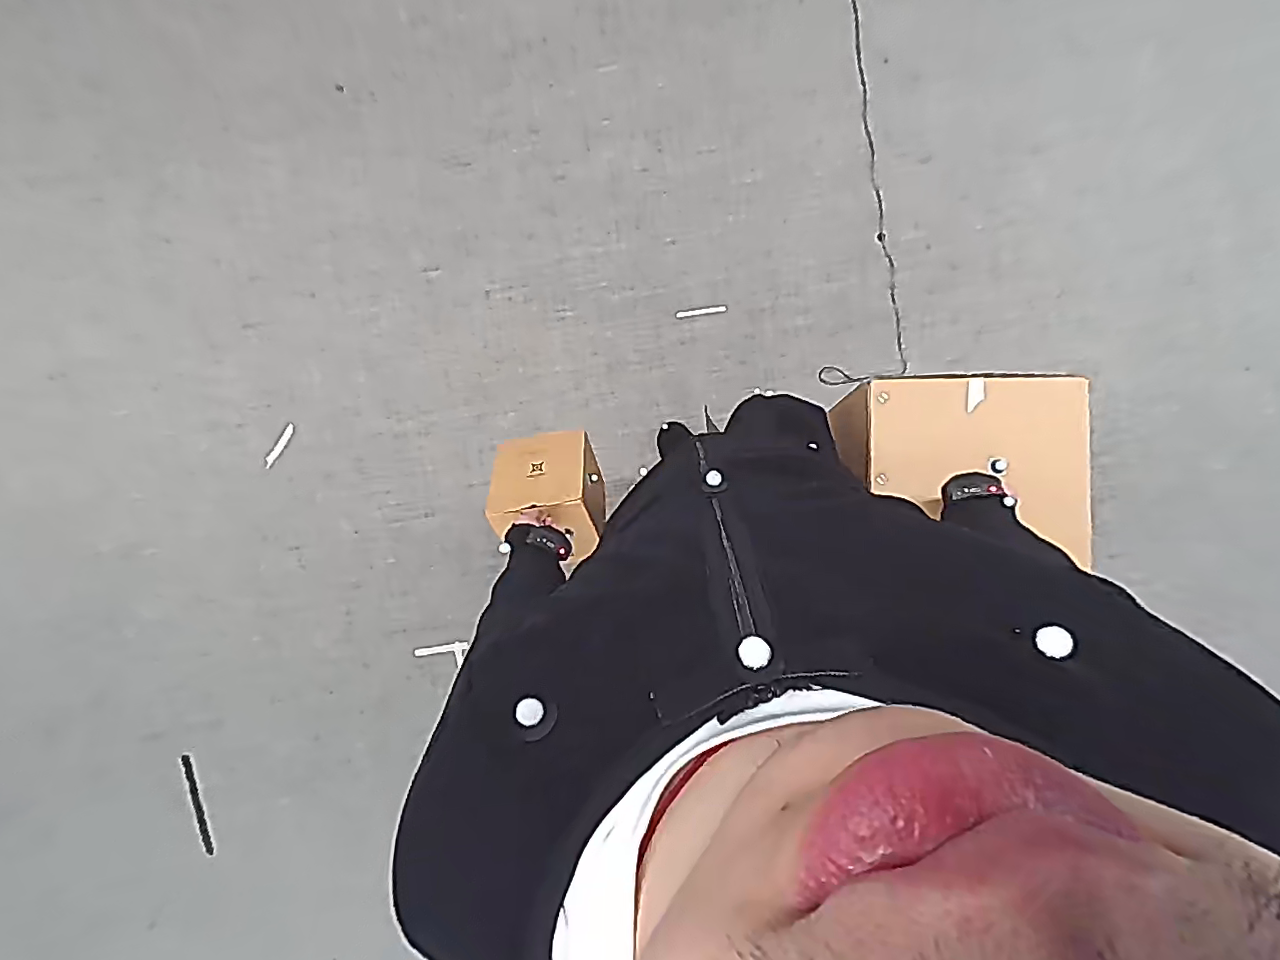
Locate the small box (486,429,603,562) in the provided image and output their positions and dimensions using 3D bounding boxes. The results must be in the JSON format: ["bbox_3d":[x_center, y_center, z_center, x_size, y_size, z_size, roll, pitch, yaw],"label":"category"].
[{"bbox_3d":[-0.164,0.036,0.989,0.168,0.179,0.176,-9,138,5],"label":"small box"}]
